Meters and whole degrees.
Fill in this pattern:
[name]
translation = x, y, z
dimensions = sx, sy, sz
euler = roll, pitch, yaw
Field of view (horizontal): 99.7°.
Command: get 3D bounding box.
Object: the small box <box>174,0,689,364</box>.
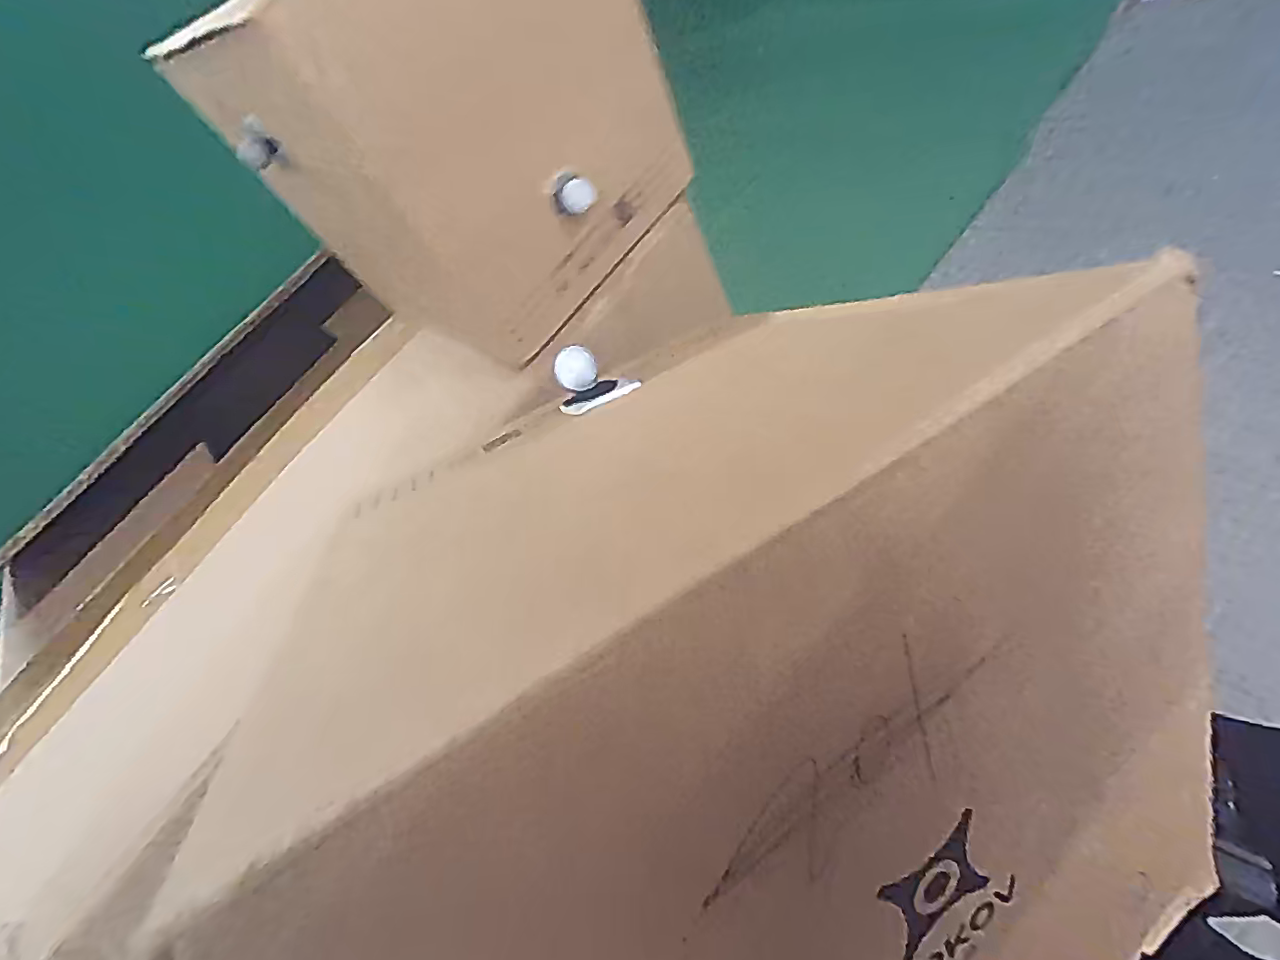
[small box]
translation = -0.102, -0.192, 0.308
dimensions = 0.179, 0.176, 0.168
euler = 29, 75, 36
